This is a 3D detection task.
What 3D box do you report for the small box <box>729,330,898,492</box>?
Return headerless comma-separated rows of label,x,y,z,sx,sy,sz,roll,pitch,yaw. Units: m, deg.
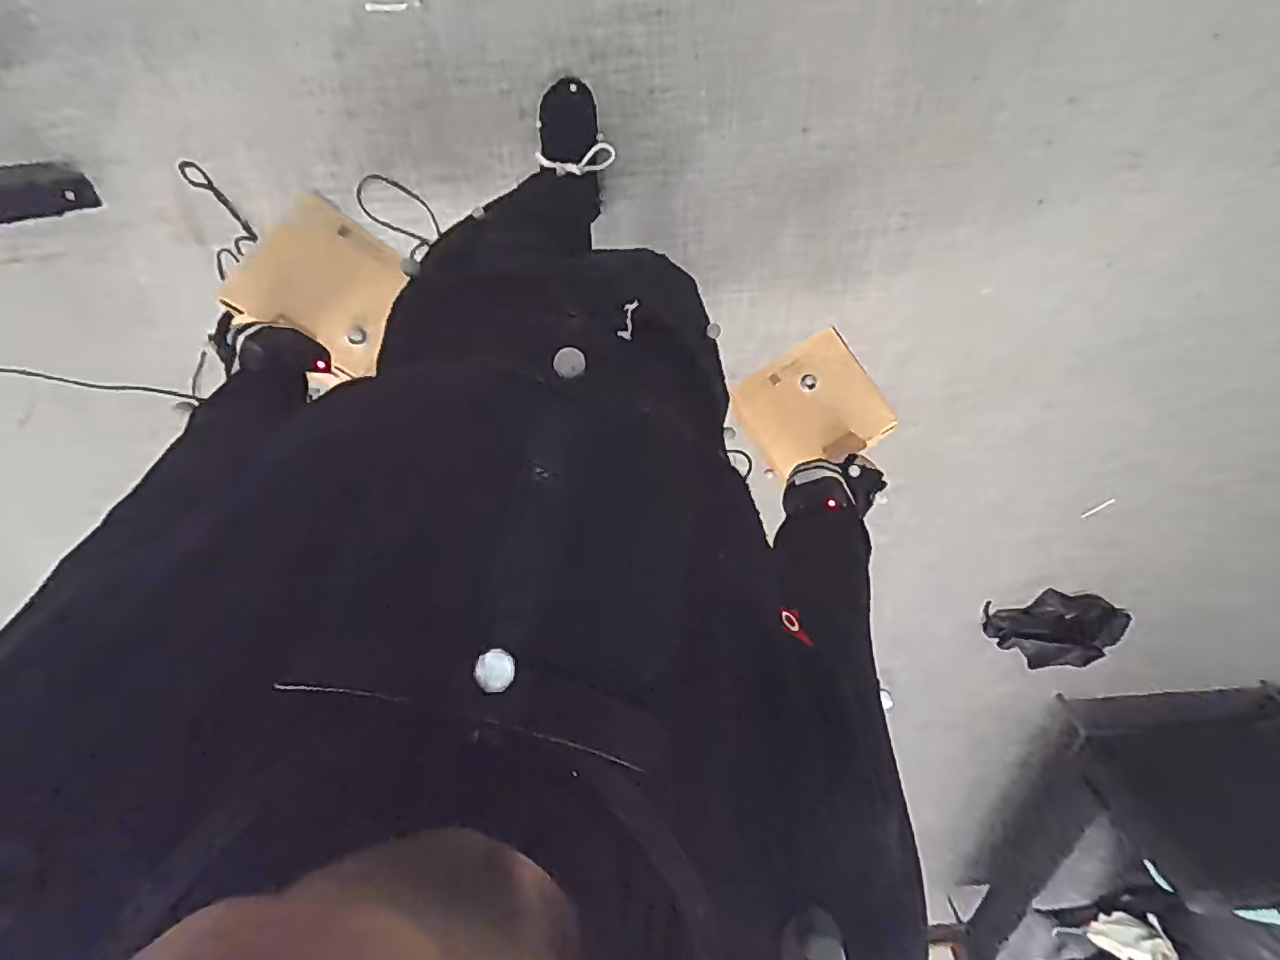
small box,0.246,-0.097,0.813,0.168,0.179,0.176,-32,81,7
